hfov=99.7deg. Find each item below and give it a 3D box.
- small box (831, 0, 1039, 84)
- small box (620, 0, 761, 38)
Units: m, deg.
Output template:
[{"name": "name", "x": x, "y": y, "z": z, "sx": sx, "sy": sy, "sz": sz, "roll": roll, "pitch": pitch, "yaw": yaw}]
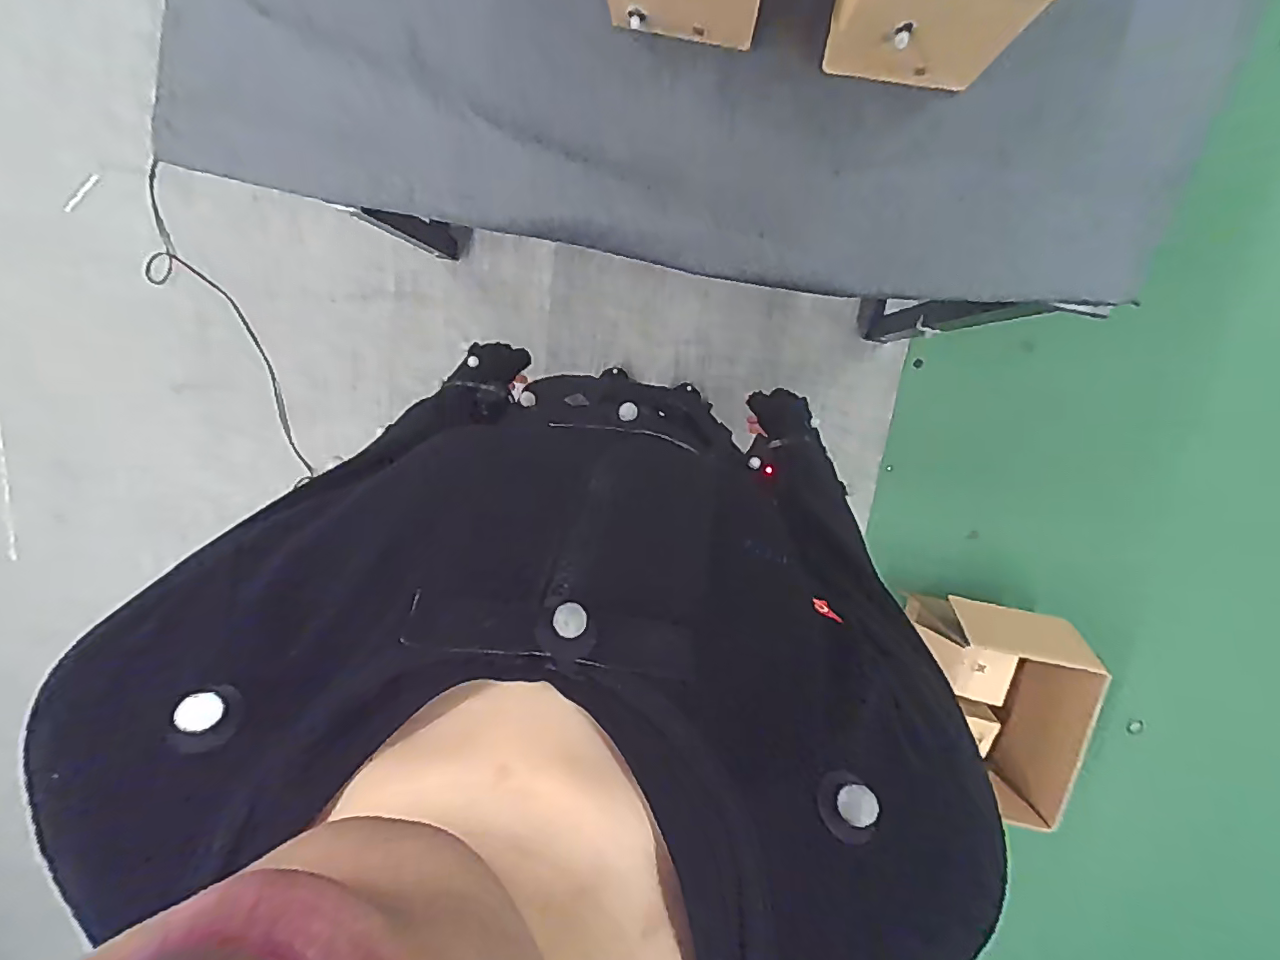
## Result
[{"name": "small box", "x": 0.299, "y": -0.527, "z": 0.525, "sx": 0.168, "sy": 0.176, "sz": 0.179, "roll": 10, "pitch": 101, "yaw": 3}, {"name": "small box", "x": 0.059, "y": -0.586, "z": 0.530, "sx": 0.168, "sy": 0.176, "sz": 0.179, "roll": 12, "pitch": 101, "yaw": 2}]
